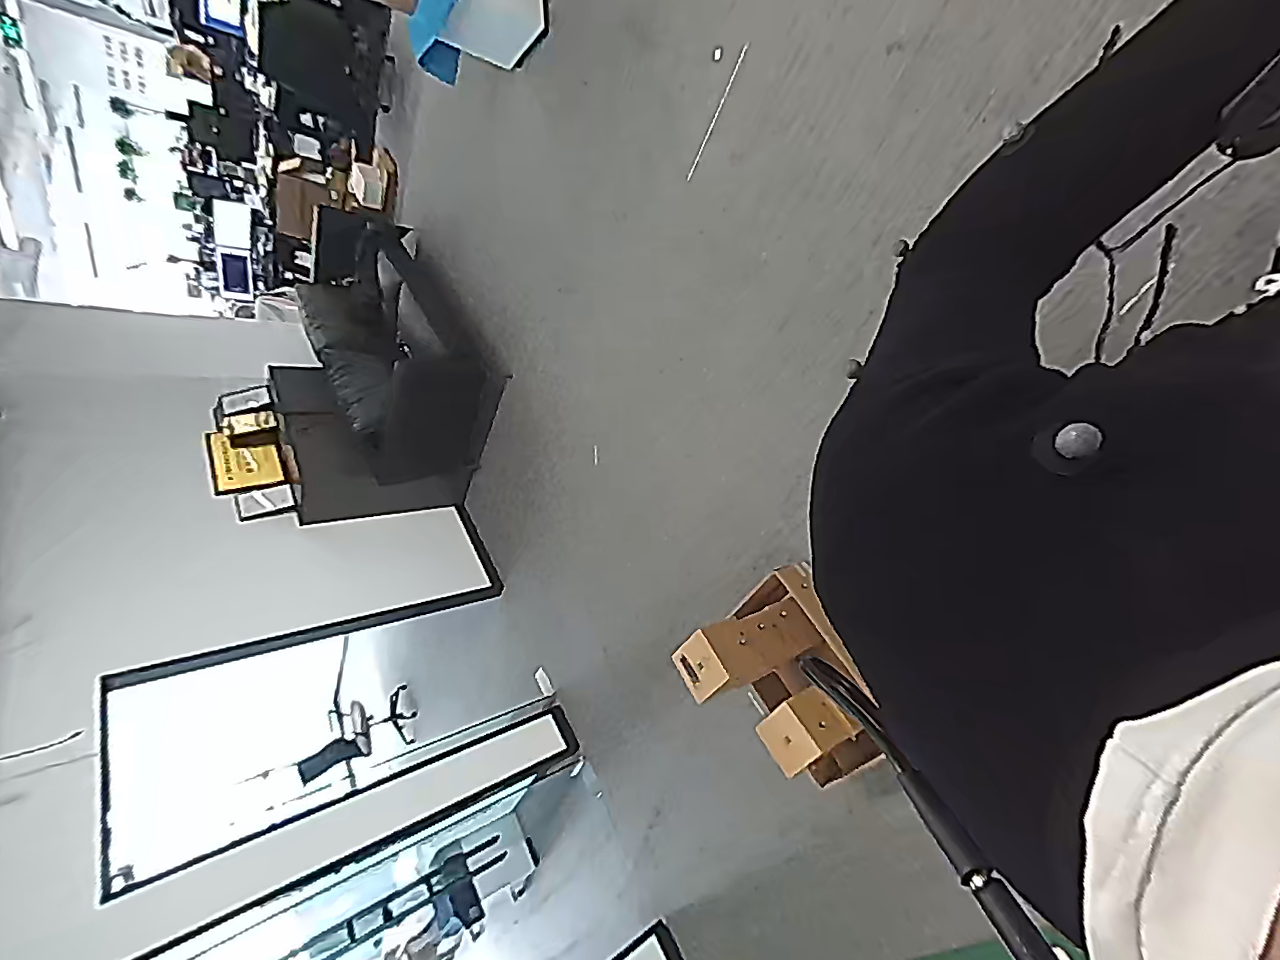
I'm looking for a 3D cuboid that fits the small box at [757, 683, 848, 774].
[{"bbox_3d":[0.499,0.749,1.643,0.168,0.176,0.179,54,132,32],"label":"small box"}]

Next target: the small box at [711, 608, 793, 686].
[{"bbox_3d":[0.373,0.539,1.766,0.179,0.176,0.168,-55,54,39],"label":"small box"}]

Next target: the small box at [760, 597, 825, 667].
[{"bbox_3d":[0.497,0.520,1.869,0.179,0.176,0.168,58,134,27],"label":"small box"}]
